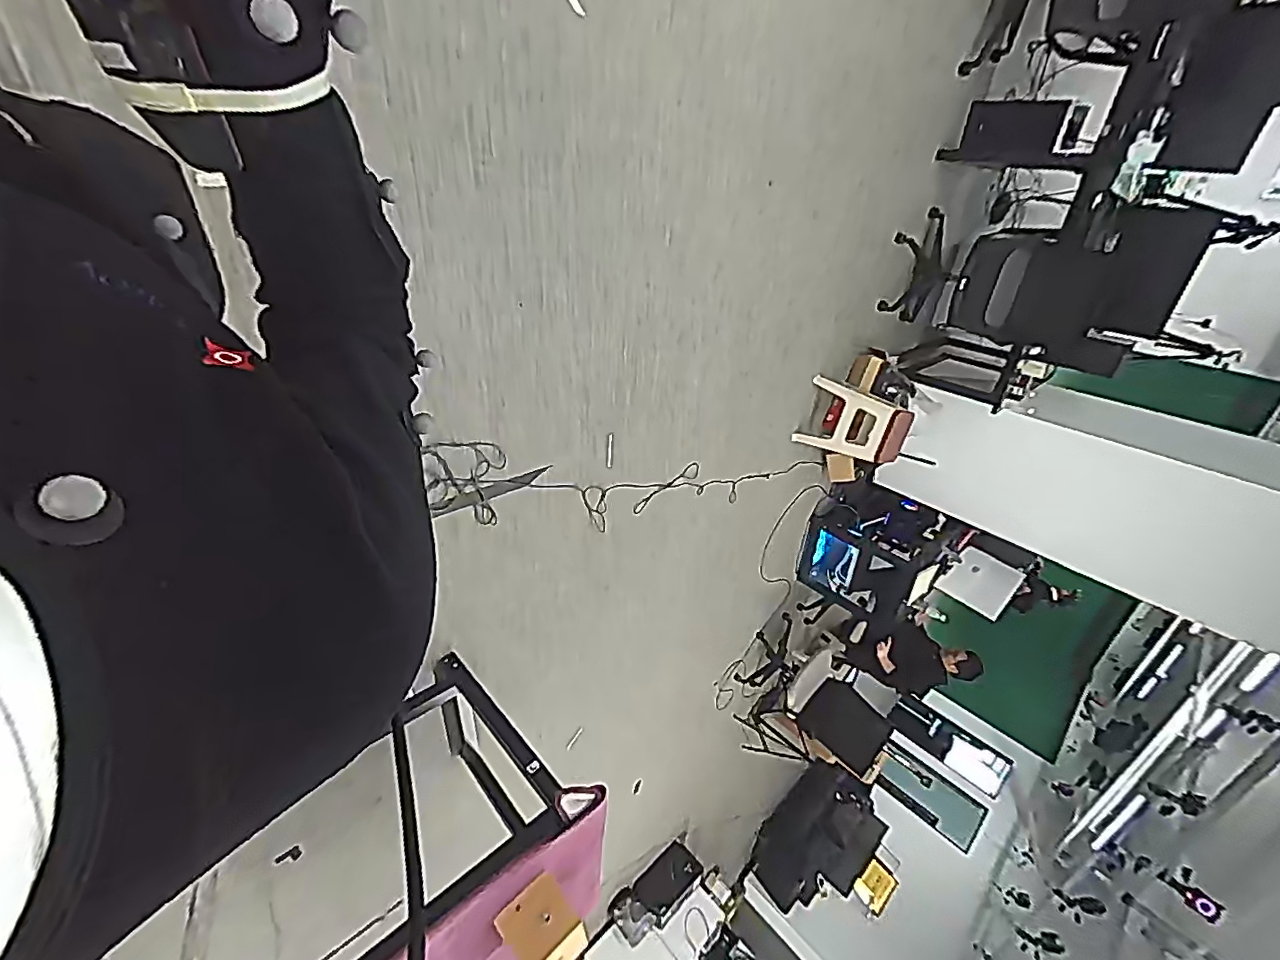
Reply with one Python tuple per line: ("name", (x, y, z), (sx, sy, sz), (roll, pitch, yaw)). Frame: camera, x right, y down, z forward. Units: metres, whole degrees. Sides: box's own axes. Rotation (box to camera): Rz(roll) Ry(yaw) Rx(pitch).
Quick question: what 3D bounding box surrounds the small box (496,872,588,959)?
("small box", (-0.260, 1.187, 1.423), (0.168, 0.176, 0.179), (-30, 133, -33))
